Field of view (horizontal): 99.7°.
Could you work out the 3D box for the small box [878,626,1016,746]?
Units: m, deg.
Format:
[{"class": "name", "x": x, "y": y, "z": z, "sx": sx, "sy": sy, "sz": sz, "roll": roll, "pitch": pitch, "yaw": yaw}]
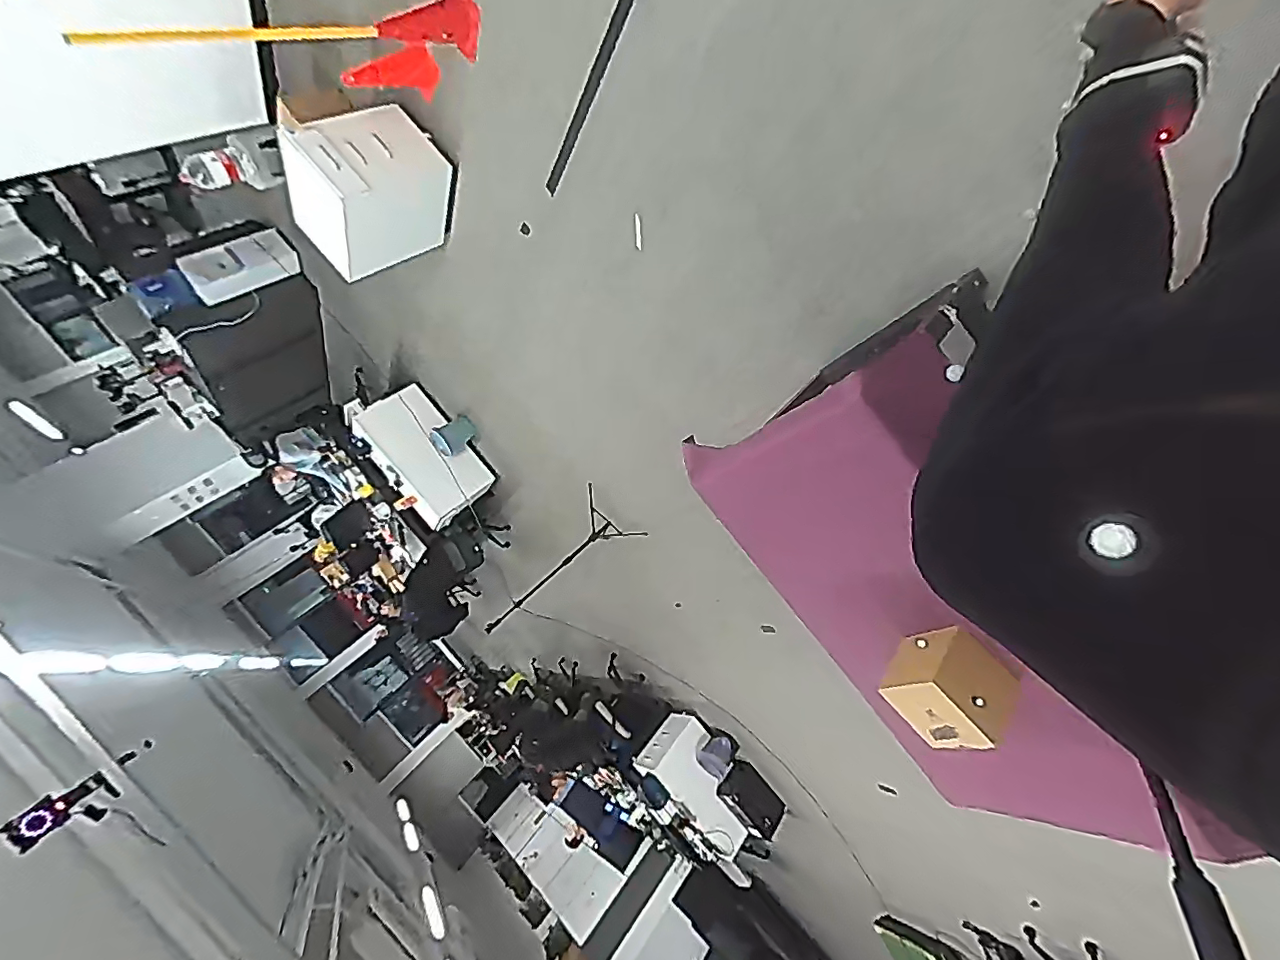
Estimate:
[{"class": "small box", "x": 0.672, "y": 0.450, "z": 1.181, "sx": 0.179, "sy": 0.176, "sz": 0.168, "roll": 46, "pitch": 148, "yaw": 6}]
